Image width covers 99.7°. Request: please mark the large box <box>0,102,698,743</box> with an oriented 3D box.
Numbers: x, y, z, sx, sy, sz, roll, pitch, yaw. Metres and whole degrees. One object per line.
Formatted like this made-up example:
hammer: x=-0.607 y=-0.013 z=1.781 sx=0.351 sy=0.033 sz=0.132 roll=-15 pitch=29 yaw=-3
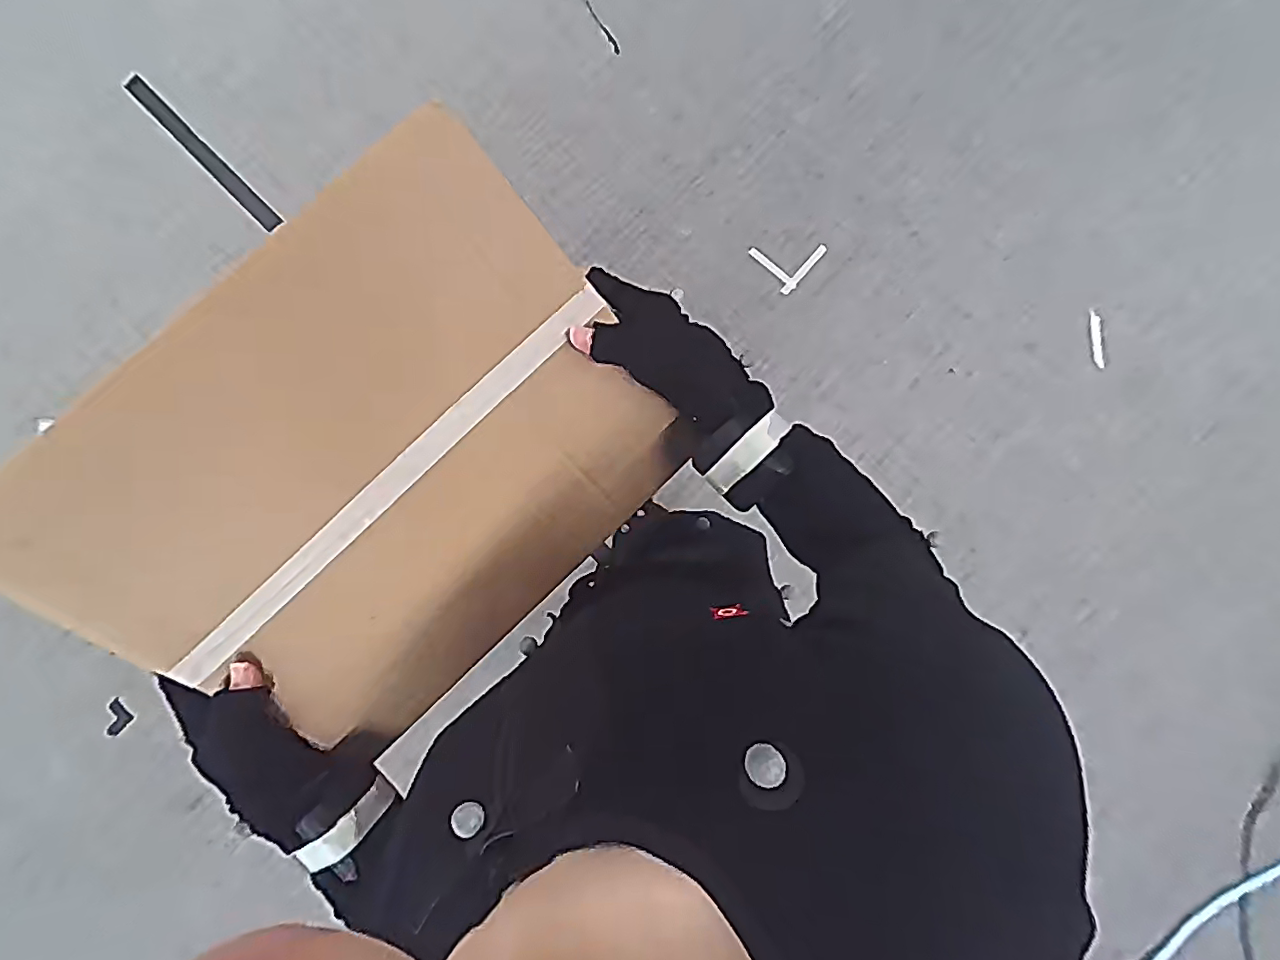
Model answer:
large box: x=-0.229 y=-0.051 z=0.538 sx=0.408 sy=0.320 sz=0.320 roll=-44 pitch=118 yaw=-3
